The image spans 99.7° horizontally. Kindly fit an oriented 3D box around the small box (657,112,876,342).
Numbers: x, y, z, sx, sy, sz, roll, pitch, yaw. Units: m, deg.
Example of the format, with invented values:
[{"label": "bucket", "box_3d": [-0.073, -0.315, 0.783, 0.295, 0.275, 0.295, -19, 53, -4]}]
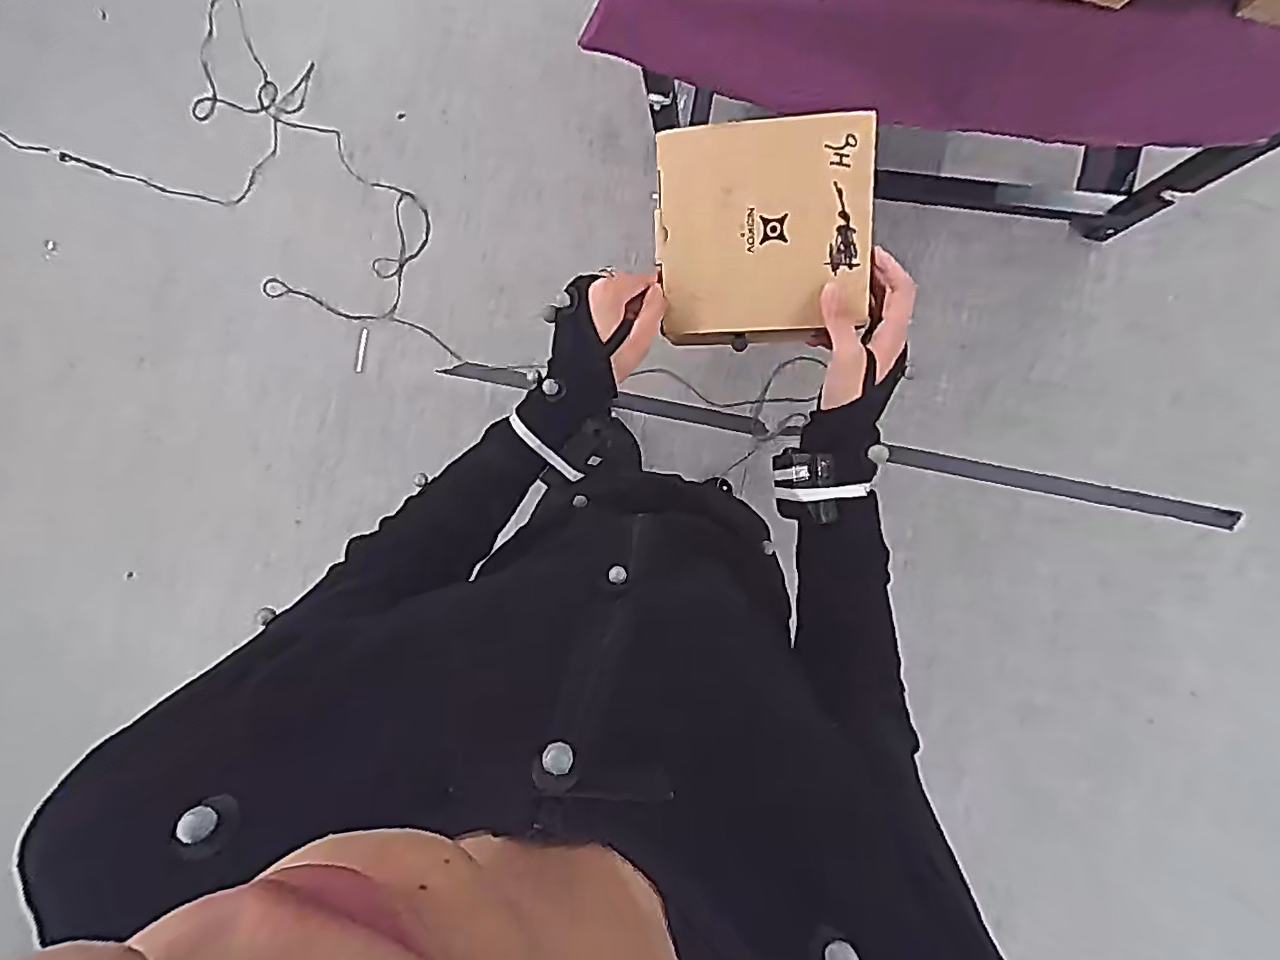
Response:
[{"label": "small box", "box_3d": [0.113, -0.226, 0.530, 0.179, 0.176, 0.168, 0, 101, 8]}]
